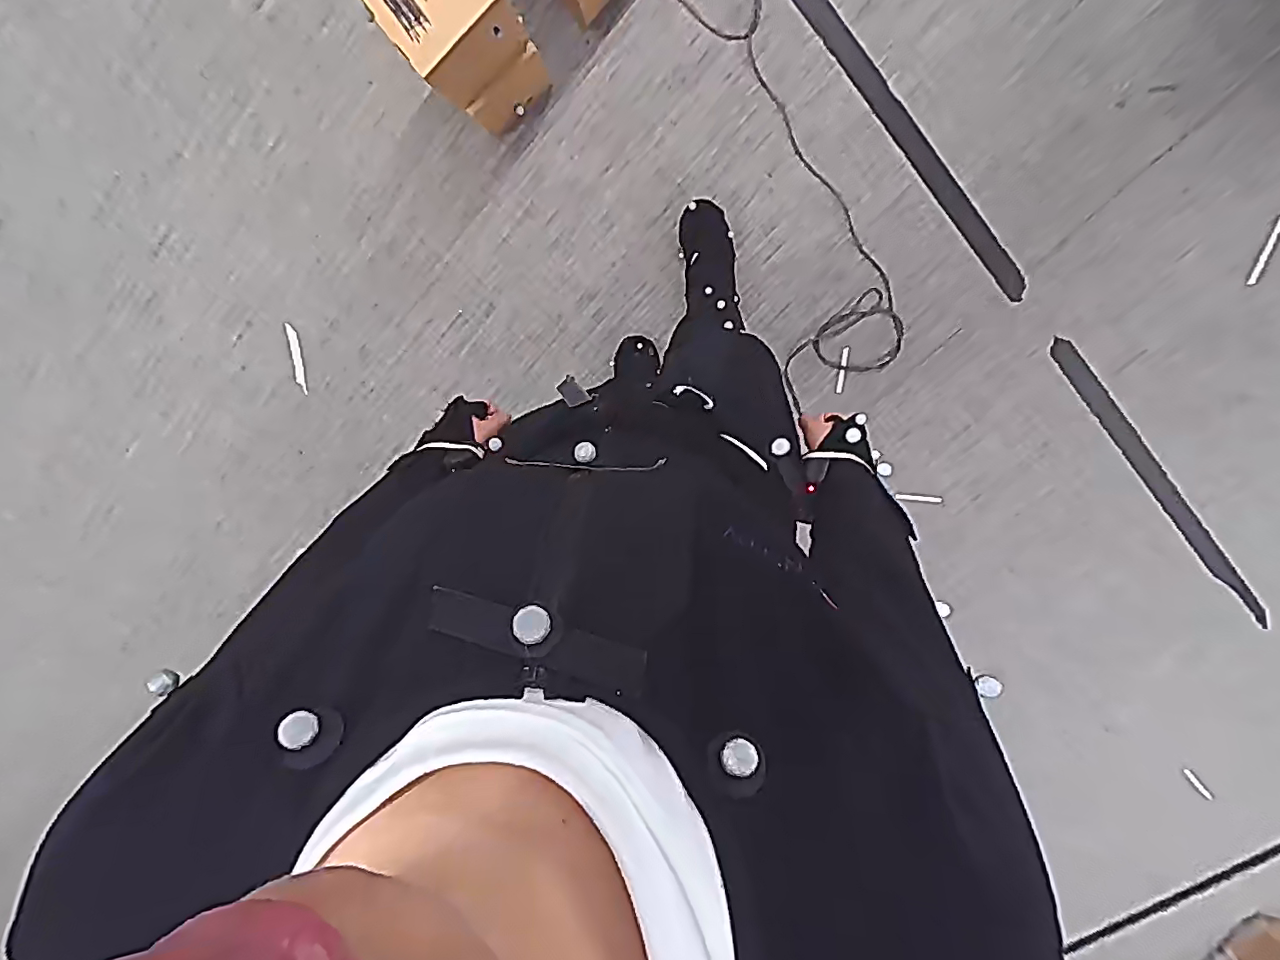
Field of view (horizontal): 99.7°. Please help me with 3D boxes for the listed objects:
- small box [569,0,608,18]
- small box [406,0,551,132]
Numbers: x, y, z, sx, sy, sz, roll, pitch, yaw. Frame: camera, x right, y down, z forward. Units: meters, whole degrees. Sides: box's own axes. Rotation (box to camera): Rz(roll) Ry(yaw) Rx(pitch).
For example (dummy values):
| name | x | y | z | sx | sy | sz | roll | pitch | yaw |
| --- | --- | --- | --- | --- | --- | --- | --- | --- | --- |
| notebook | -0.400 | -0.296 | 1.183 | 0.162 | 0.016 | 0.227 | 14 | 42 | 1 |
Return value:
| name | x | y | z | sx | sy | sz | roll | pitch | yaw |
| --- | --- | --- | --- | --- | --- | --- | --- | --- | --- |
| small box | -0.107 | -0.978 | 0.948 | 0.168 | 0.176 | 0.179 | -41 | 104 | 17 |
| small box | -0.293 | -0.803 | 1.018 | 0.168 | 0.176 | 0.179 | -36 | 106 | 14 |
